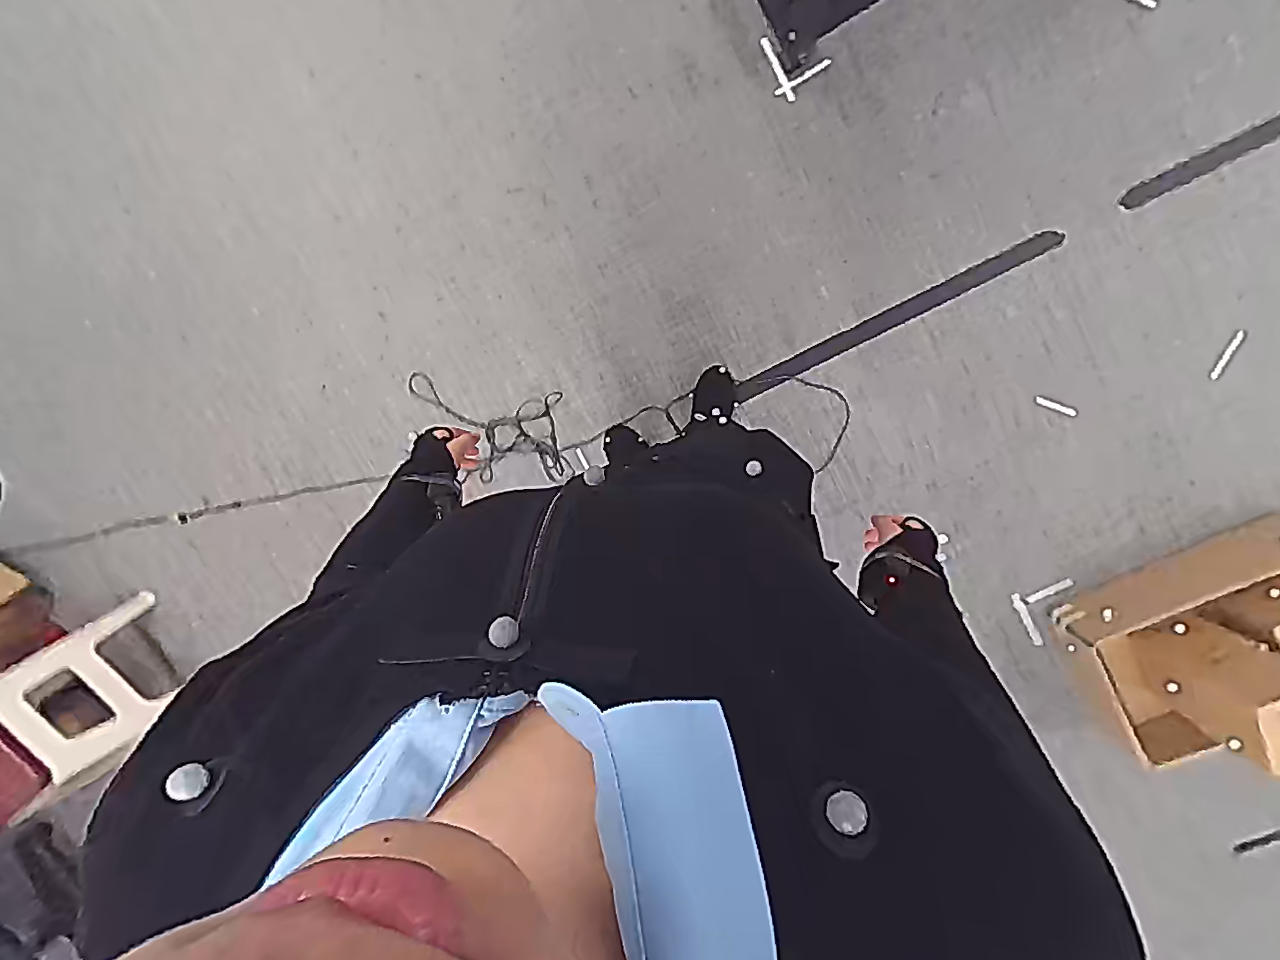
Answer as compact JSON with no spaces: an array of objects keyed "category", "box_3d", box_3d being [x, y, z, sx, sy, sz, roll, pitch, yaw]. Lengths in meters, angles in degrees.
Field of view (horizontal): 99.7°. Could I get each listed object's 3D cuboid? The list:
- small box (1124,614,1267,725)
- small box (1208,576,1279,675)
[{"category":"small box","box_3d":[1.383,0.470,1.357,0.168,0.176,0.179,-24,98,7]},{"category":"small box","box_3d":[1.561,0.355,1.314,0.168,0.176,0.179,-30,98,12]}]
